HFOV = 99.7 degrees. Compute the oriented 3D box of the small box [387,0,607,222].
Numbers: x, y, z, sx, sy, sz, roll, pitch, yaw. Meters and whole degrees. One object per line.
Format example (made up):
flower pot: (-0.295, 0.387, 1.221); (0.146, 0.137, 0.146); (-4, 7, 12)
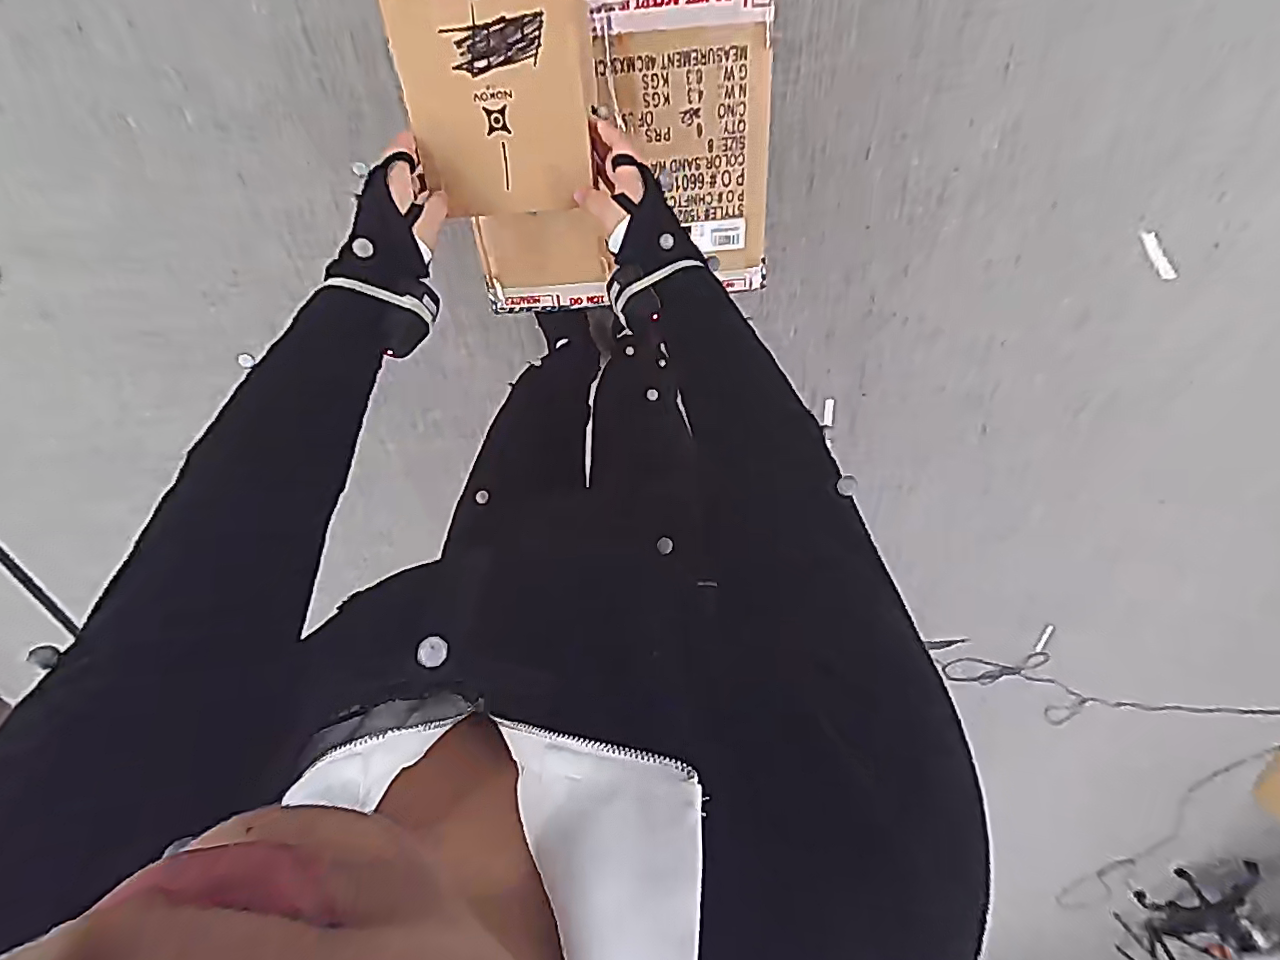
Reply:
small box: (-0.128, -0.383, 0.565); (0.168, 0.176, 0.179); (-3, 125, 3)
